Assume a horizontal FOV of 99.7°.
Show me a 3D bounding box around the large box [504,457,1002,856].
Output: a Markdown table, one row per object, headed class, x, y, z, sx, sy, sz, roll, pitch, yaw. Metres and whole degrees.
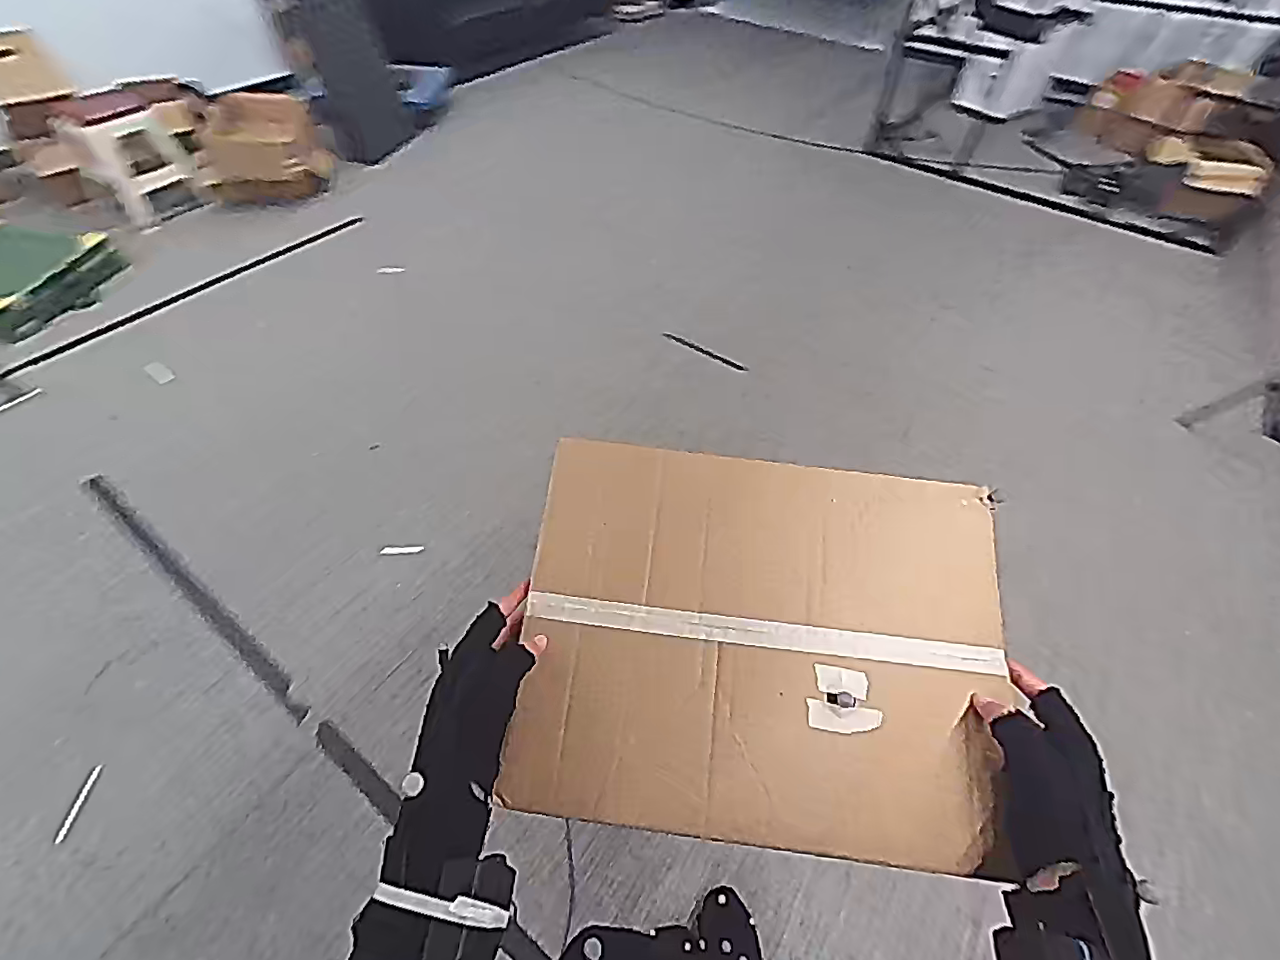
| class | x | y | z | sx | sy | sz | roll | pitch | yaw |
| --- | --- | --- | --- | --- | --- | --- | --- | --- | --- |
| large box | 0.097 | 0.187 | 0.616 | 0.408 | 0.320 | 0.320 | 6 | 71 | 1 |
